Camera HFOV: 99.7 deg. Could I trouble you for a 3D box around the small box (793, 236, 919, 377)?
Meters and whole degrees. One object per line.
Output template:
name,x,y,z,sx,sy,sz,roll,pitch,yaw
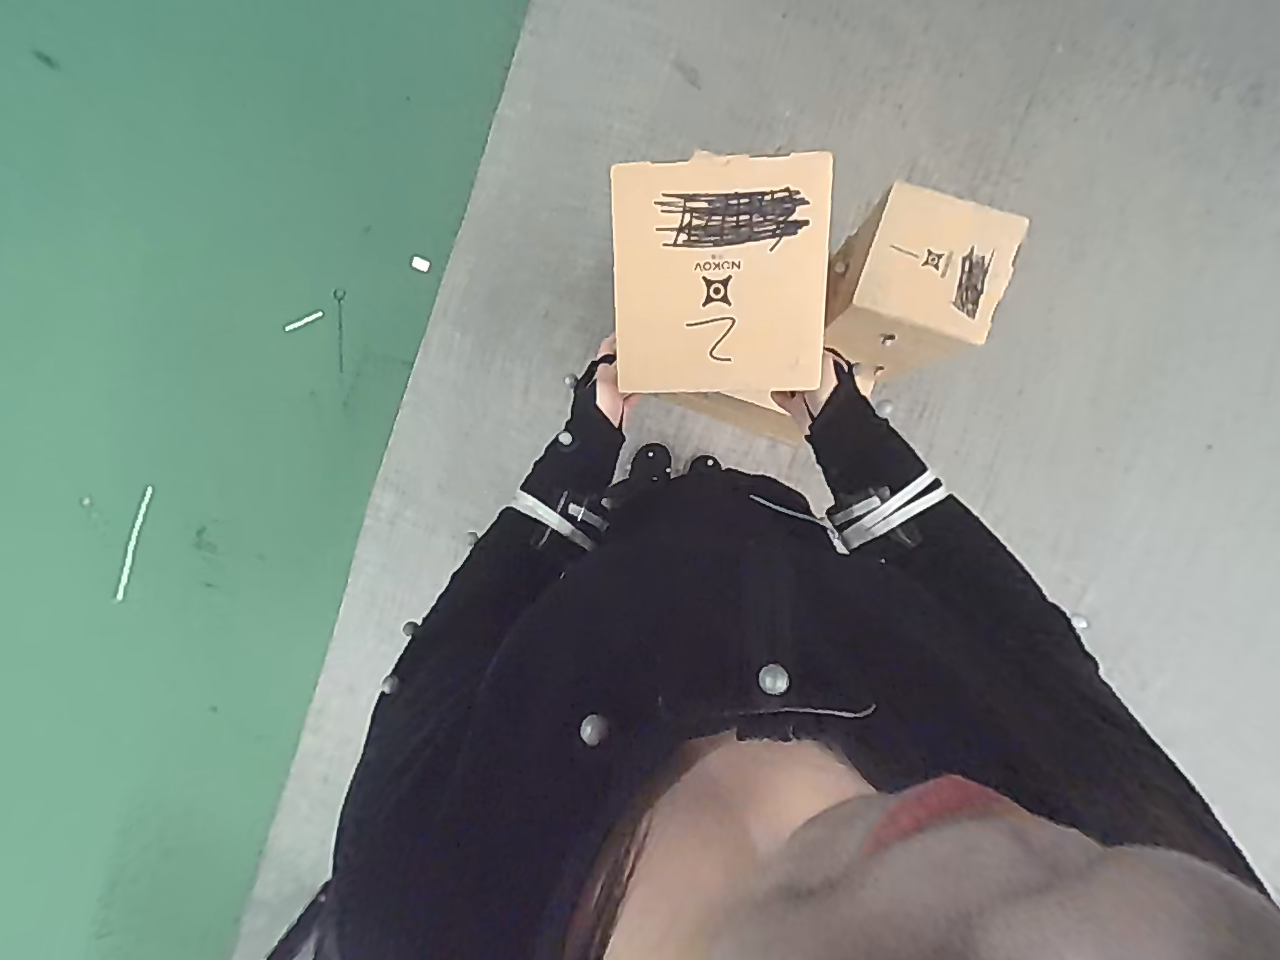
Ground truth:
small box,0.386,-0.284,0.927,0.179,0.176,0.168,19,93,3

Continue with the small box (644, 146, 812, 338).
small box,0.116,-0.321,0.772,0.168,0.176,0.179,23,94,0

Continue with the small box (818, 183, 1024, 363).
small box,0.378,-0.275,0.763,0.179,0.176,0.168,20,94,4
